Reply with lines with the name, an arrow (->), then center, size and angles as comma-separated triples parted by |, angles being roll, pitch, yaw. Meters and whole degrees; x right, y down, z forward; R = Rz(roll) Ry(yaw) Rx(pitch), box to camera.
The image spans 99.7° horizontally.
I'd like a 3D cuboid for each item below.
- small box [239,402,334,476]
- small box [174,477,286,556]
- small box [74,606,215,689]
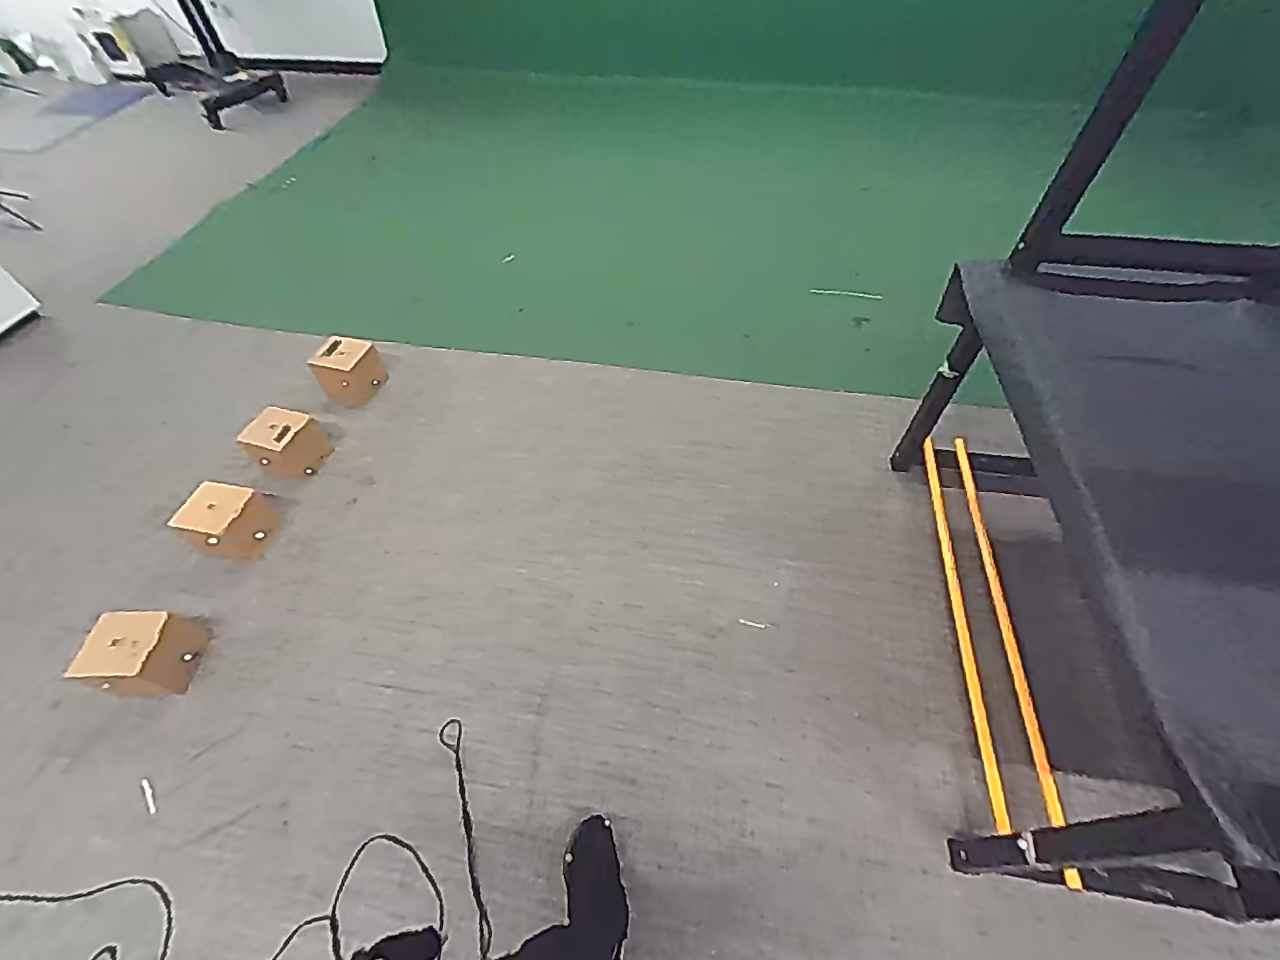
small box -> -1.188, -0.134, 1.836 | 0.179, 0.176, 0.168 | 13, 54, 11
small box -> -1.241, 0.115, 1.652 | 0.179, 0.176, 0.168 | 8, 54, 7
small box -> -1.276, 0.440, 1.409 | 0.179, 0.176, 0.168 | -2, 54, 0
